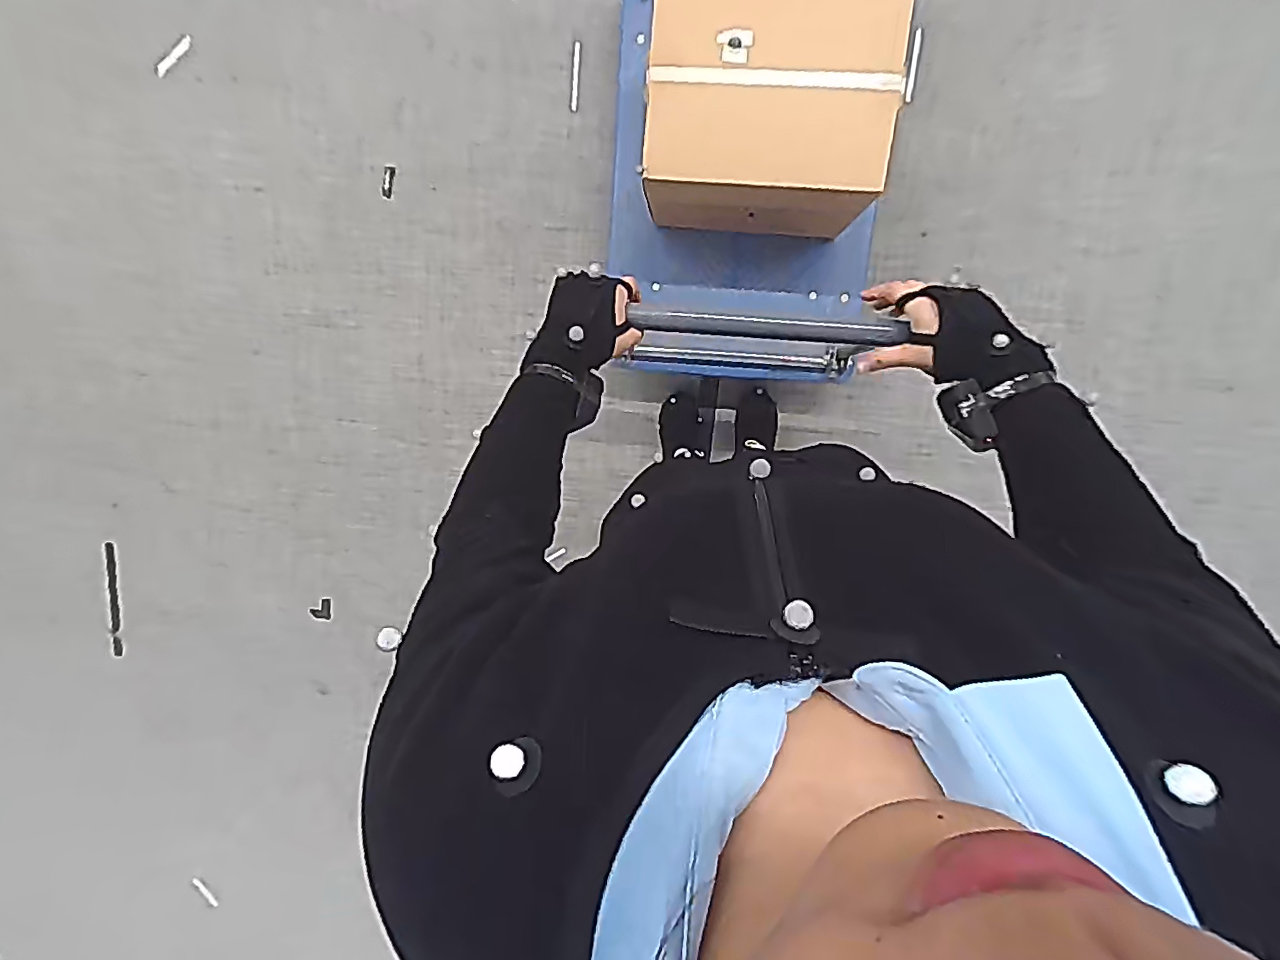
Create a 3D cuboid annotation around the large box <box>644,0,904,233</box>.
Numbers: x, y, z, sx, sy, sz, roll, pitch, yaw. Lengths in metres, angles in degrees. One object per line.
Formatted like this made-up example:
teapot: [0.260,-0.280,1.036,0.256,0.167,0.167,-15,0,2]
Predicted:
large box: [0.231,-0.677,1.036,0.408,0.320,0.320,6,101,6]
